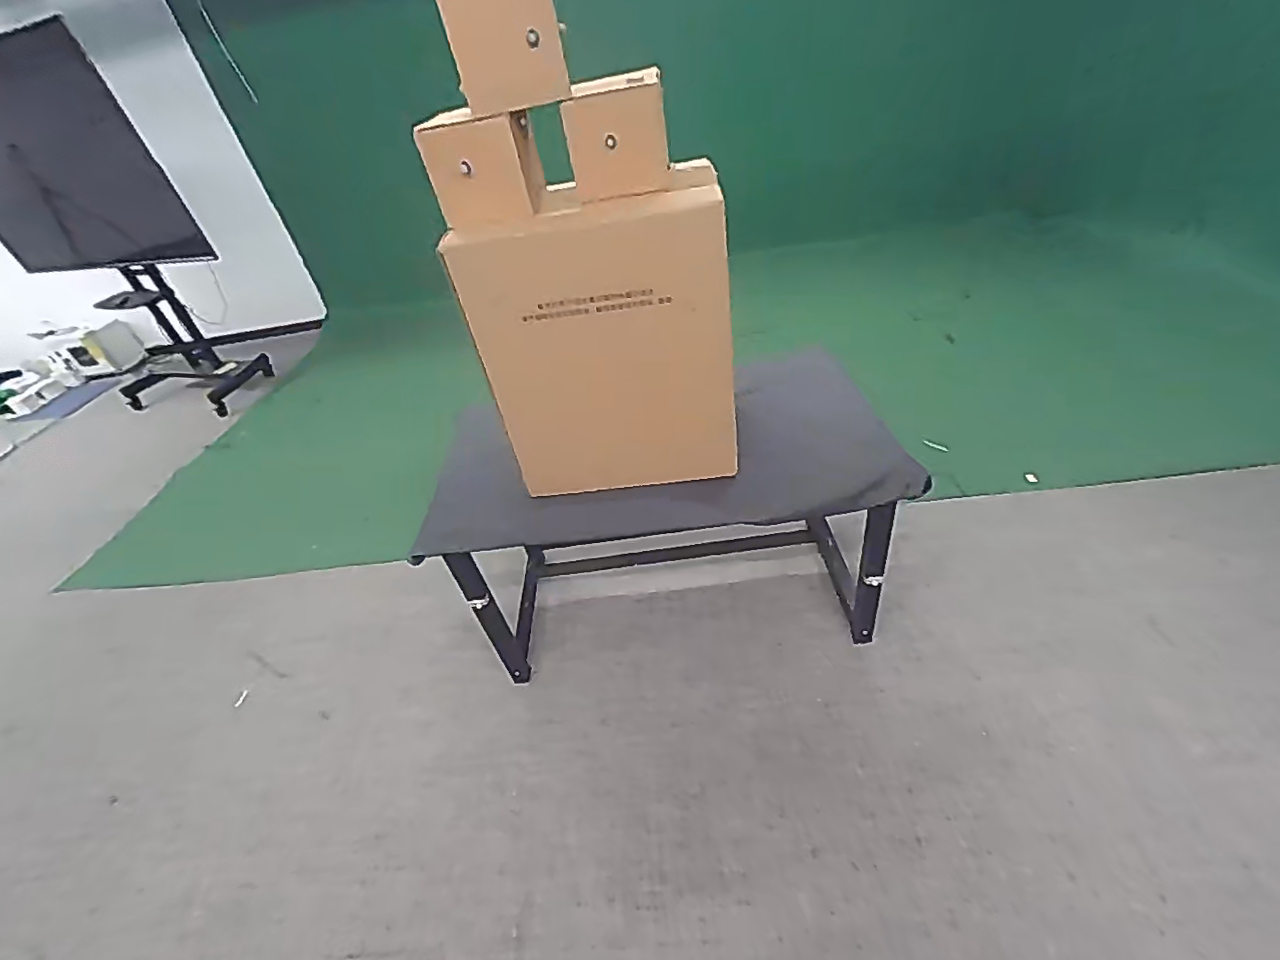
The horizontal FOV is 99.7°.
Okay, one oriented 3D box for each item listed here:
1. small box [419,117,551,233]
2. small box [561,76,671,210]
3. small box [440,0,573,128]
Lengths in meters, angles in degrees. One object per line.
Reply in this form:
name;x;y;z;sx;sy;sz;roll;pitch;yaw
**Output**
small box;-0.288;-0.595;1.049;0.179;0.176;0.168;-5;43;8
small box;-0.035;-0.641;1.033;0.179;0.176;0.168;-6;43;9
small box;-0.217;-0.730;0.934;0.179;0.176;0.168;-13;40;0
